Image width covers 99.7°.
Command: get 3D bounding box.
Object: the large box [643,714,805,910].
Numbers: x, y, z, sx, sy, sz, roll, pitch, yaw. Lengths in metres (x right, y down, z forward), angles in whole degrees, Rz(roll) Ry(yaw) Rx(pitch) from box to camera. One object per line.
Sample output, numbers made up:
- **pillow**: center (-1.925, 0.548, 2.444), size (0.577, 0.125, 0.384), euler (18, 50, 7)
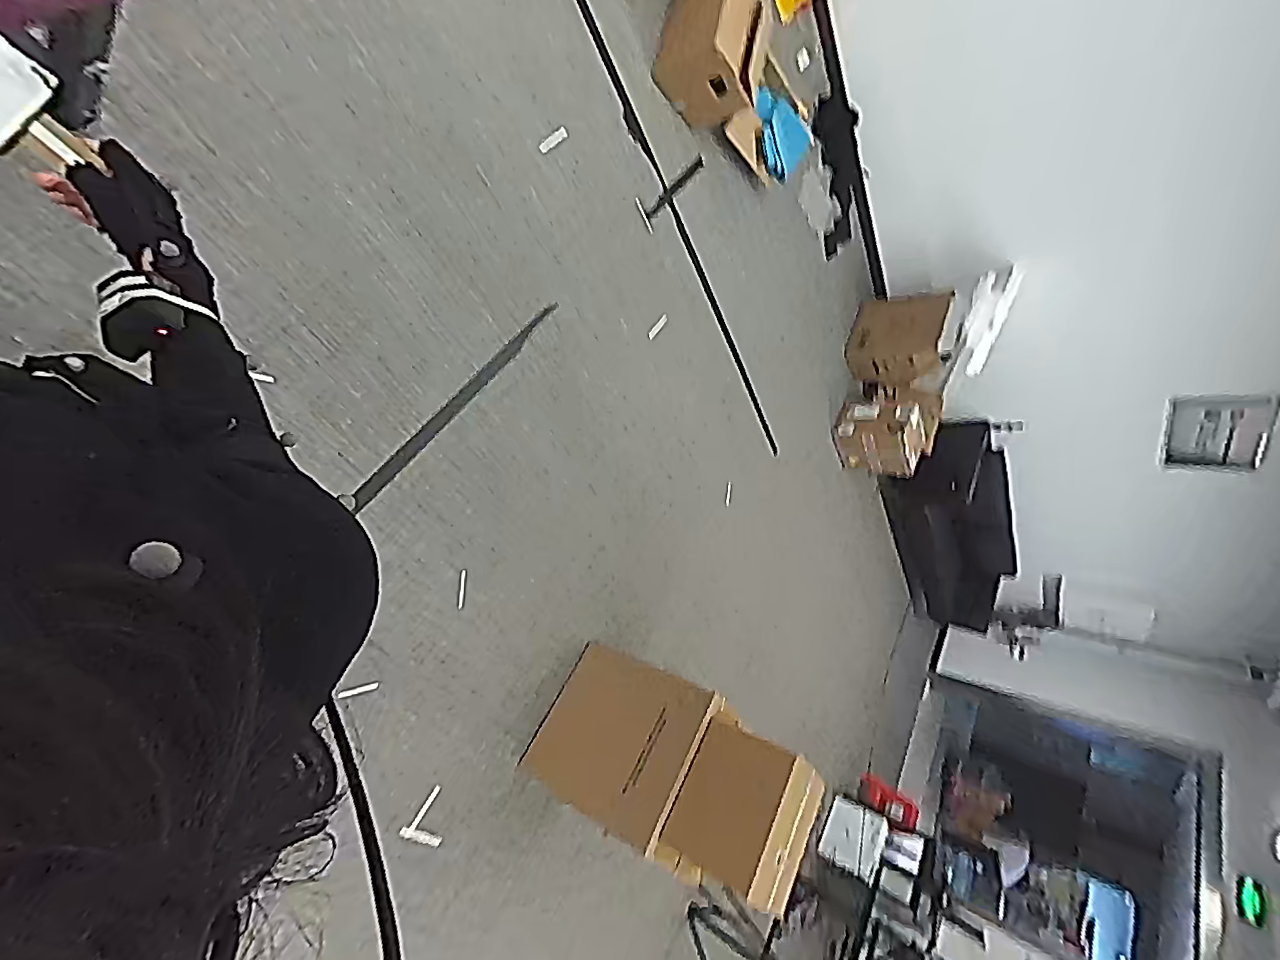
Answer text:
- **large box**: center (0.275, 1.033, 1.715), size (0.408, 0.320, 0.320), euler (-58, 133, -26)
